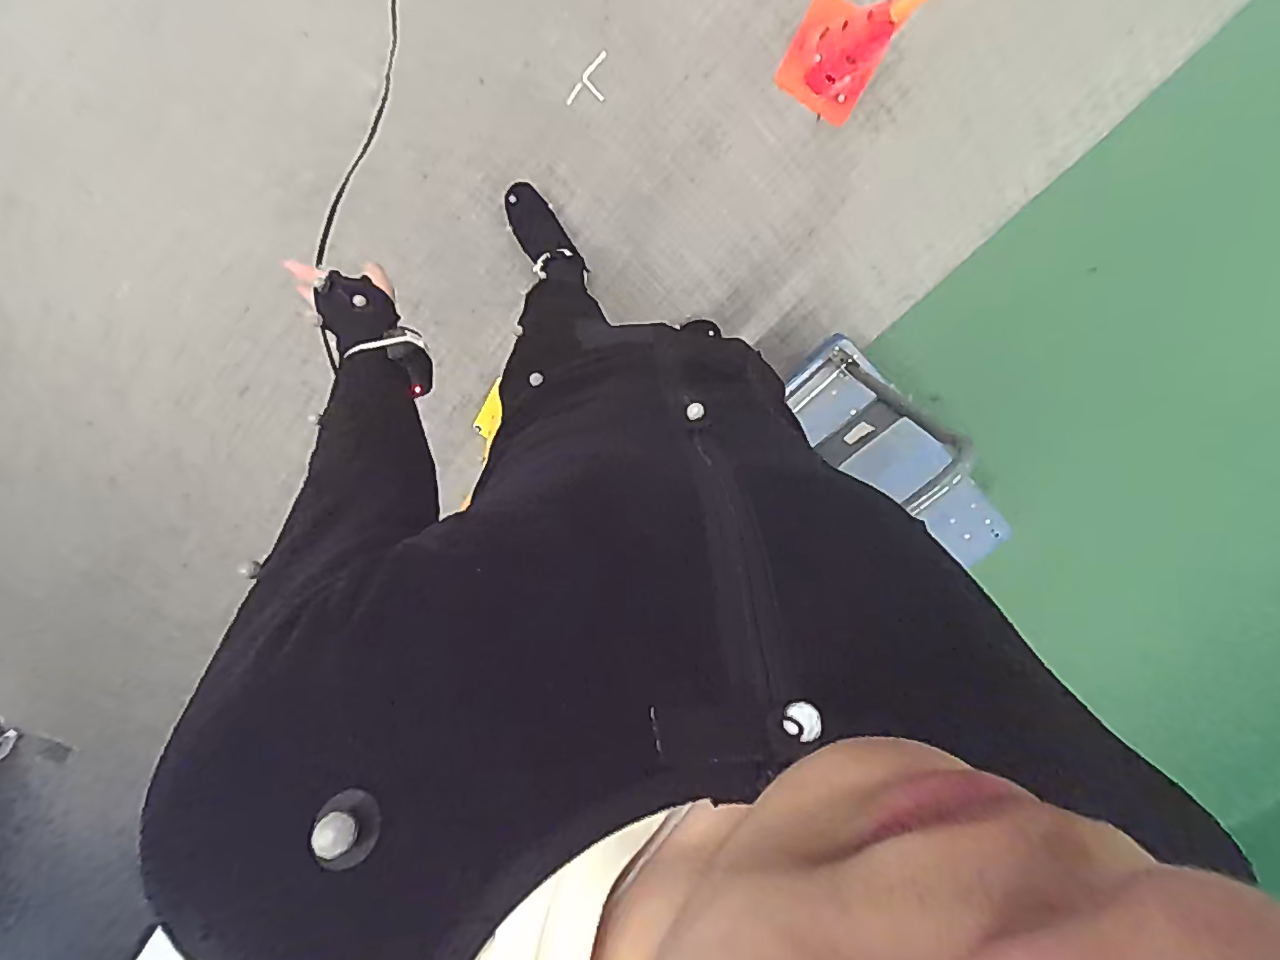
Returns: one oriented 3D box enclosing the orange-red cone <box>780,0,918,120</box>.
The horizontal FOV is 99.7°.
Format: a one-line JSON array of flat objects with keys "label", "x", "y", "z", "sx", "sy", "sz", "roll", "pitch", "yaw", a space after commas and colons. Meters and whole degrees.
[{"label": "orange-red cone", "x": 0.448, "y": -0.888, "z": 1.075, "sx": 0.198, "sy": 0.360, "sz": 0.199, "roll": 25, "pitch": 112, "yaw": -14}]
